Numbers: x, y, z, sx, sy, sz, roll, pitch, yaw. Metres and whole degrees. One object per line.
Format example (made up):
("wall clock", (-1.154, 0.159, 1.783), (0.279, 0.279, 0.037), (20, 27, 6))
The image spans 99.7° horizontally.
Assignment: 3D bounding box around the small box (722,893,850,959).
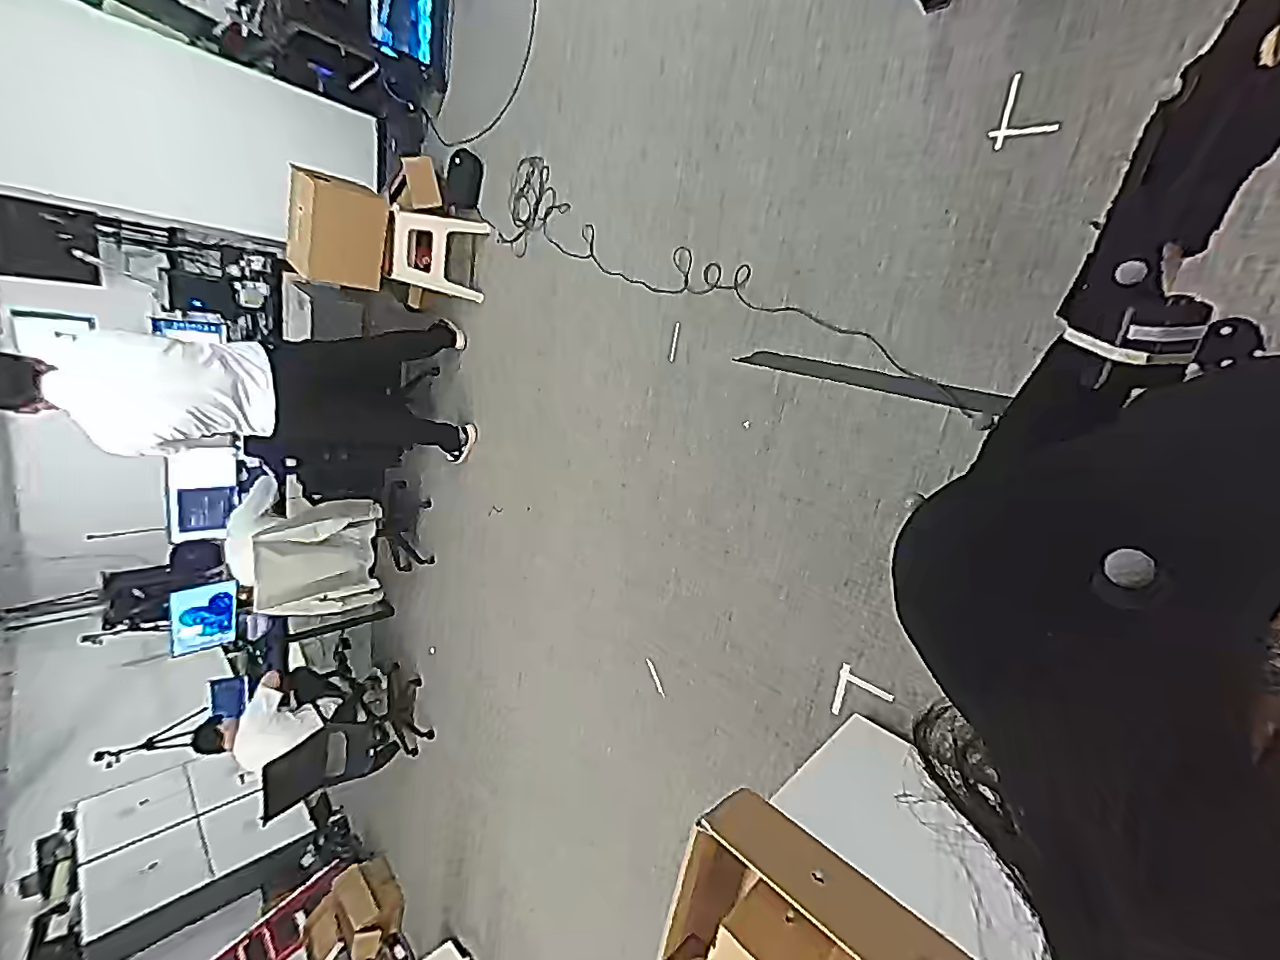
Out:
("small box", (0.269, 0.944, 1.033), (0.179, 0.176, 0.168), (21, 104, 40))
